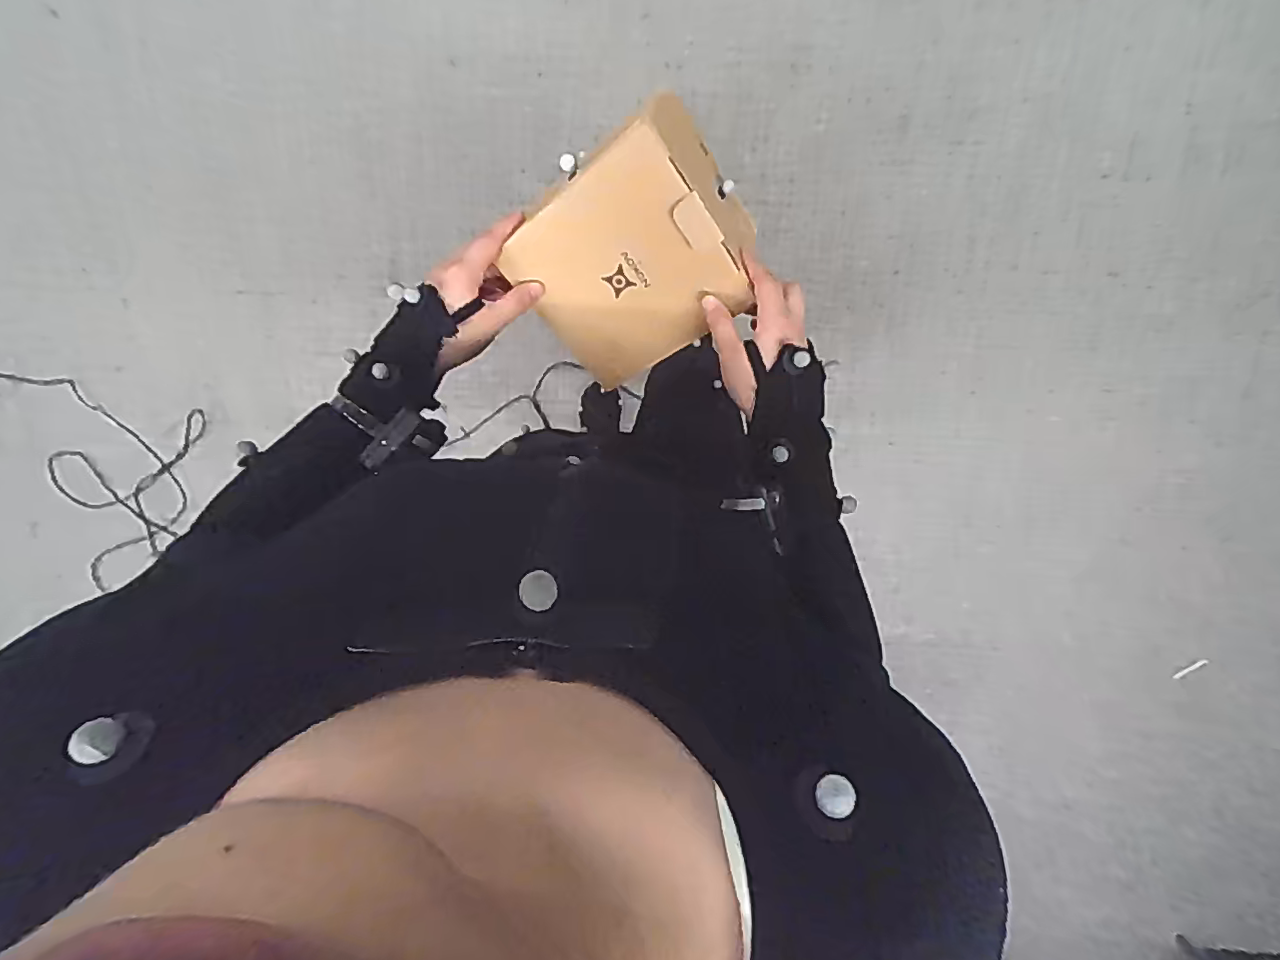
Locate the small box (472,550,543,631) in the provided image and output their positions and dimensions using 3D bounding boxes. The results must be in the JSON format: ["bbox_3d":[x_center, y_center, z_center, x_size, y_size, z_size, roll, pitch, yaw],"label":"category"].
[{"bbox_3d":[-0.371,0.302,1.503,0.168,0.176,0.179,0,104,3],"label":"small box"}]
